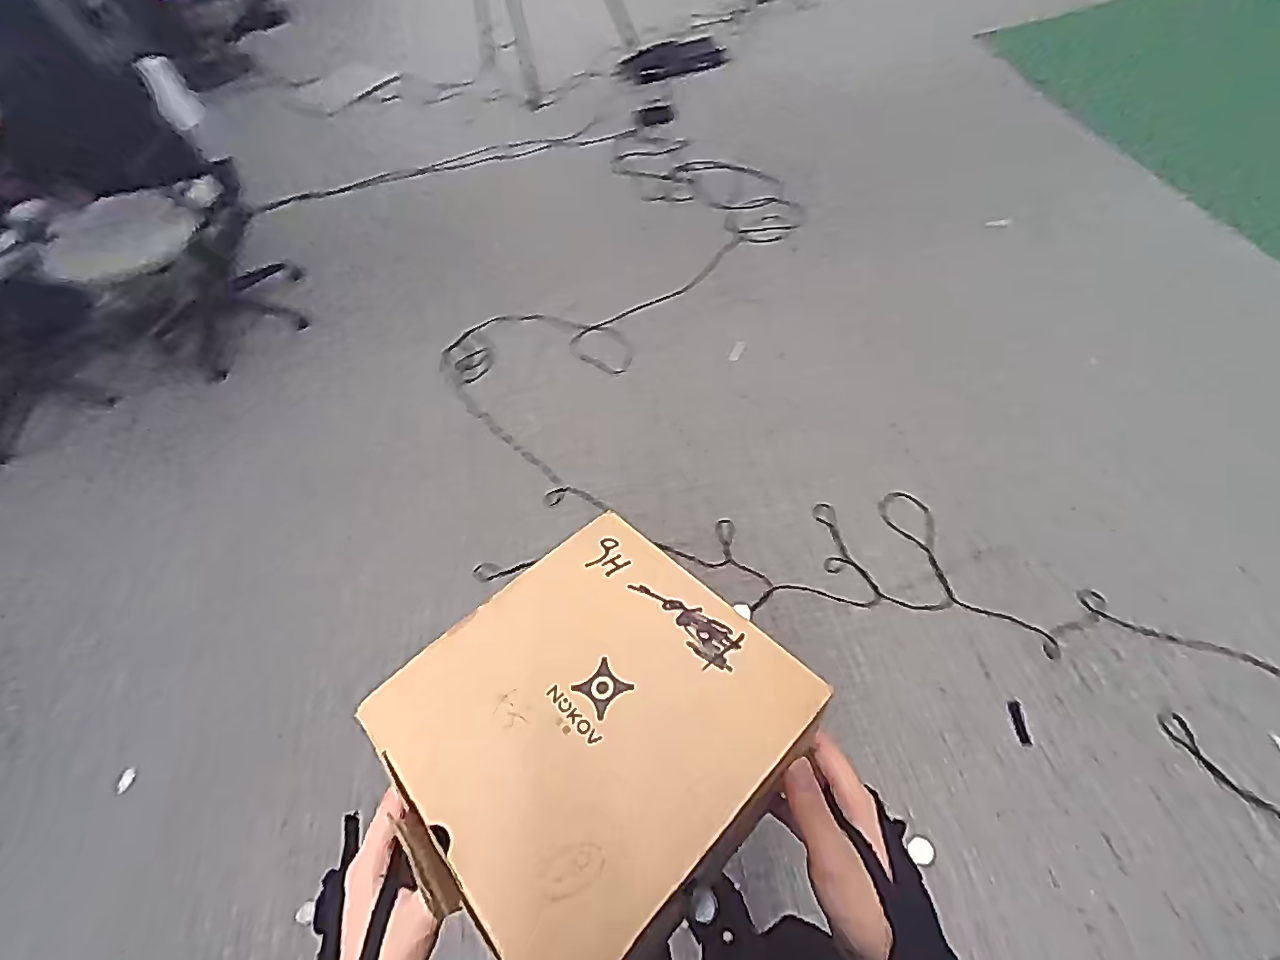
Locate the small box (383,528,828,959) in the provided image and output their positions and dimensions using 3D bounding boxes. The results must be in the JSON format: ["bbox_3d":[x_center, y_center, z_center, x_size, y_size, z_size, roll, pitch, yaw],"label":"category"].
[{"bbox_3d":[-0.013,0.171,0.334,0.179,0.176,0.168,-37,54,-24],"label":"small box"}]
